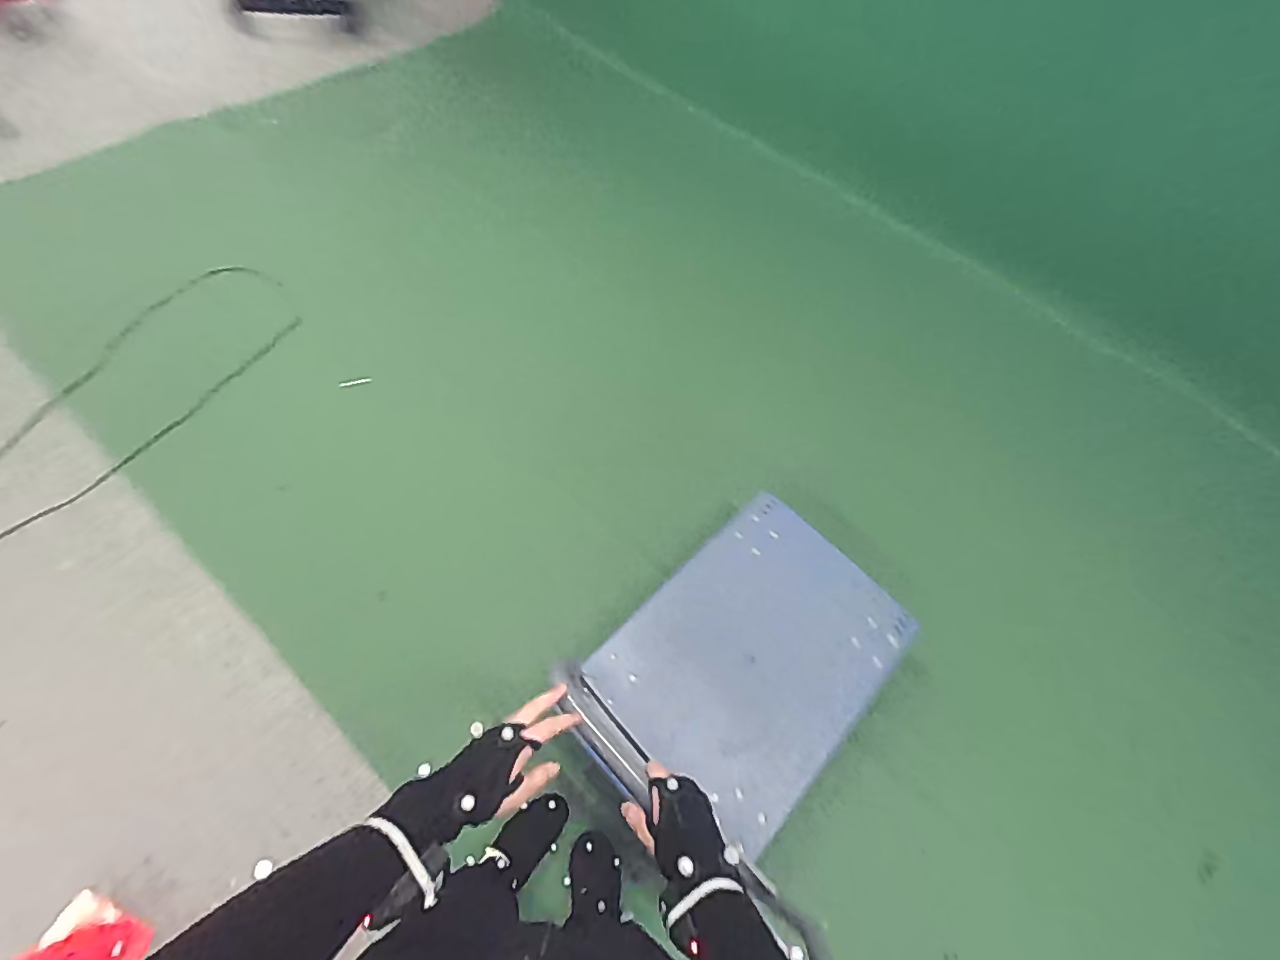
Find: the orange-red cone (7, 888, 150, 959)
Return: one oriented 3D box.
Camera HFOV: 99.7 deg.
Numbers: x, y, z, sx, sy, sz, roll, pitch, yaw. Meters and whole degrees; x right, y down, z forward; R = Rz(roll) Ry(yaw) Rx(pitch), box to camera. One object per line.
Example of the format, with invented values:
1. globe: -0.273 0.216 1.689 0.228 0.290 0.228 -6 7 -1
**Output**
1. orange-red cone: -1.150 0.917 0.976 0.199 0.360 0.198 26 61 9
